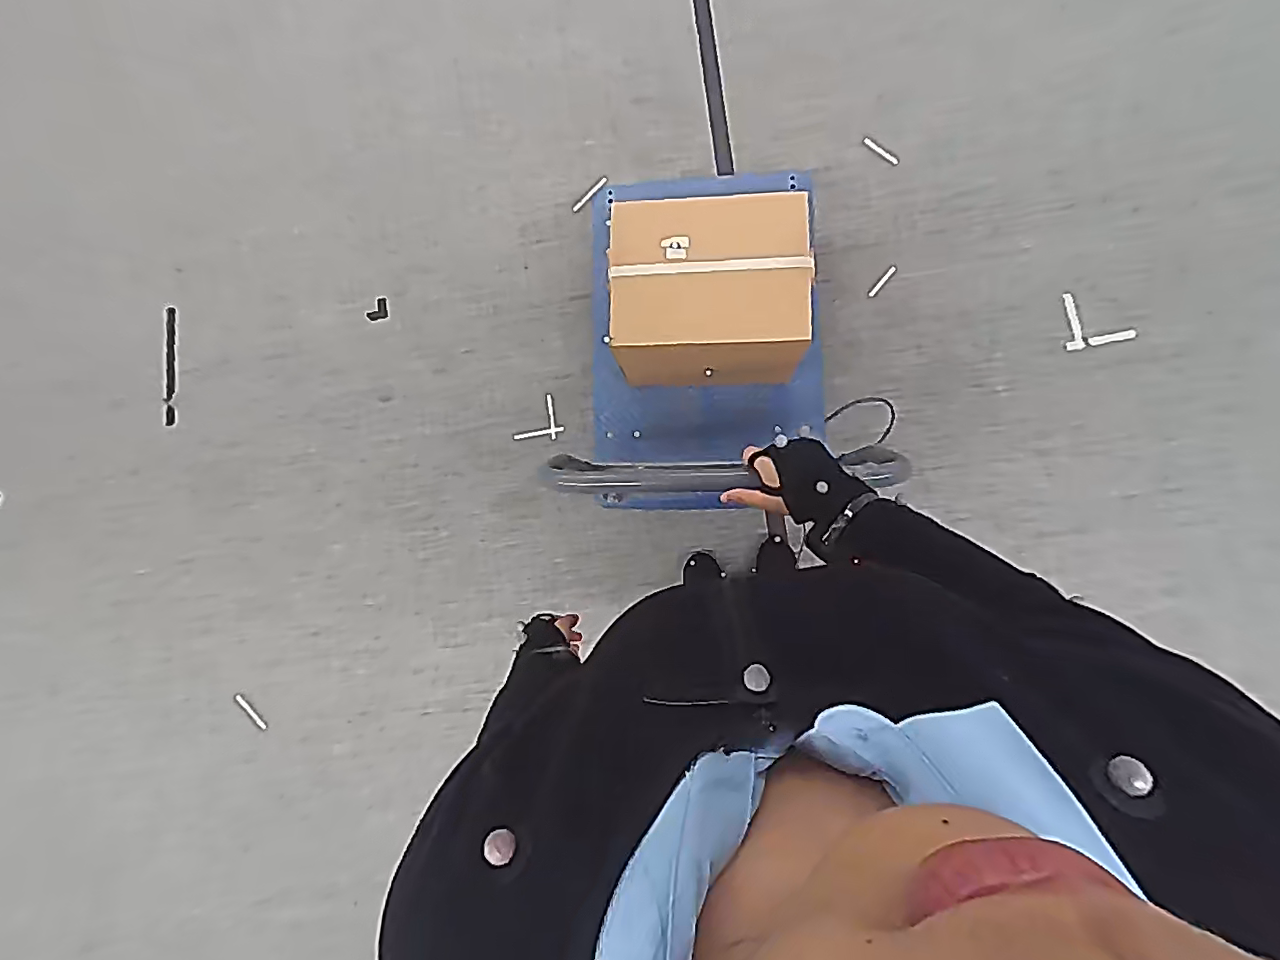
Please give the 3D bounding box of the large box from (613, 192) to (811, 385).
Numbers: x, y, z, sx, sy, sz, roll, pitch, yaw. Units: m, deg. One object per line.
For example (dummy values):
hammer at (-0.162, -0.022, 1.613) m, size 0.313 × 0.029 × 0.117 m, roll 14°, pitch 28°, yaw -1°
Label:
large box at (0.162, -0.417, 1.259) m, size 0.408 × 0.320 × 0.320 m, roll -1°, pitch 83°, yaw 8°
